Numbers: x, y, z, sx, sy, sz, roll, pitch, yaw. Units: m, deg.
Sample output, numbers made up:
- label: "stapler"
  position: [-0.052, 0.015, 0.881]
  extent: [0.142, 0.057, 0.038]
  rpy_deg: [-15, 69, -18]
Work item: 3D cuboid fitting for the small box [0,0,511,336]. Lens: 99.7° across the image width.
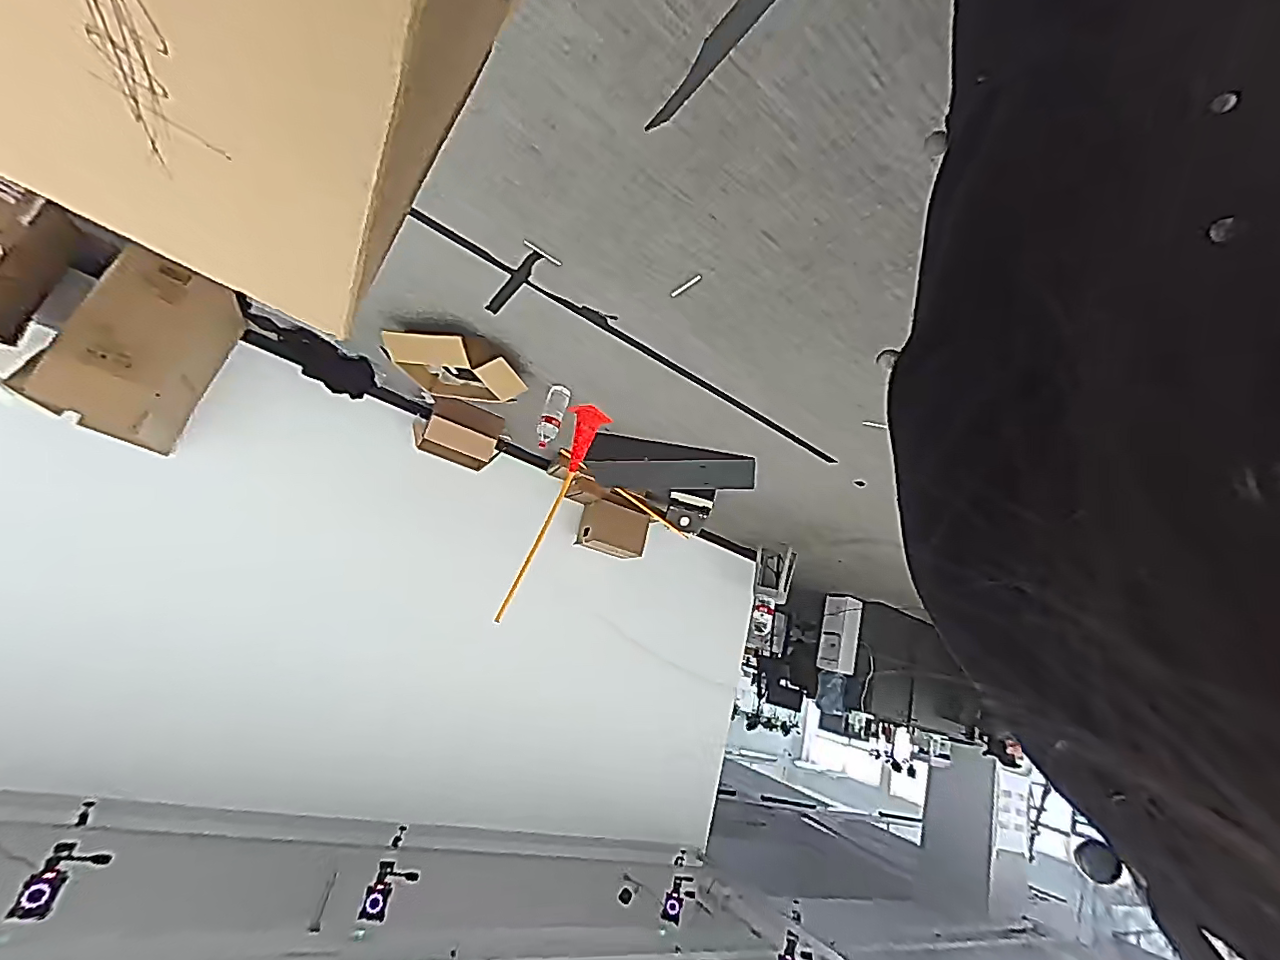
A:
- label: "small box"
  position: [-0.111, -0.166, 0.107]
  extent: [0.179, 0.176, 0.168]
  rpy_deg: [25, 161, -27]
